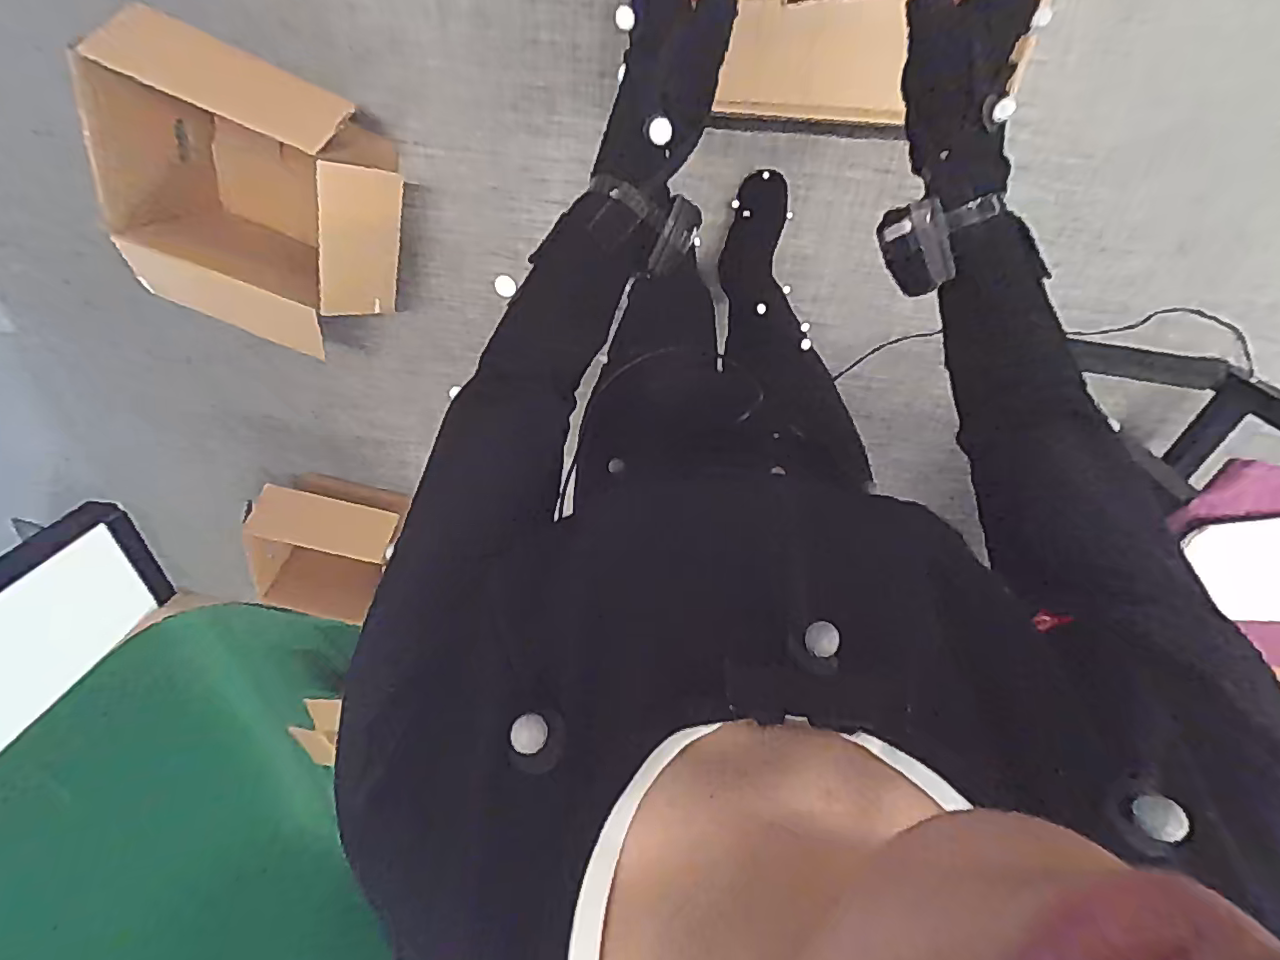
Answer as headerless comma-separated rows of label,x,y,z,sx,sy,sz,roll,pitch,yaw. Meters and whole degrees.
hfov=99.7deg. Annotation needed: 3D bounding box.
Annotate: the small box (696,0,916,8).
small box,0.123,-0.449,0.376,0.168,0.176,0.179,0,131,2
